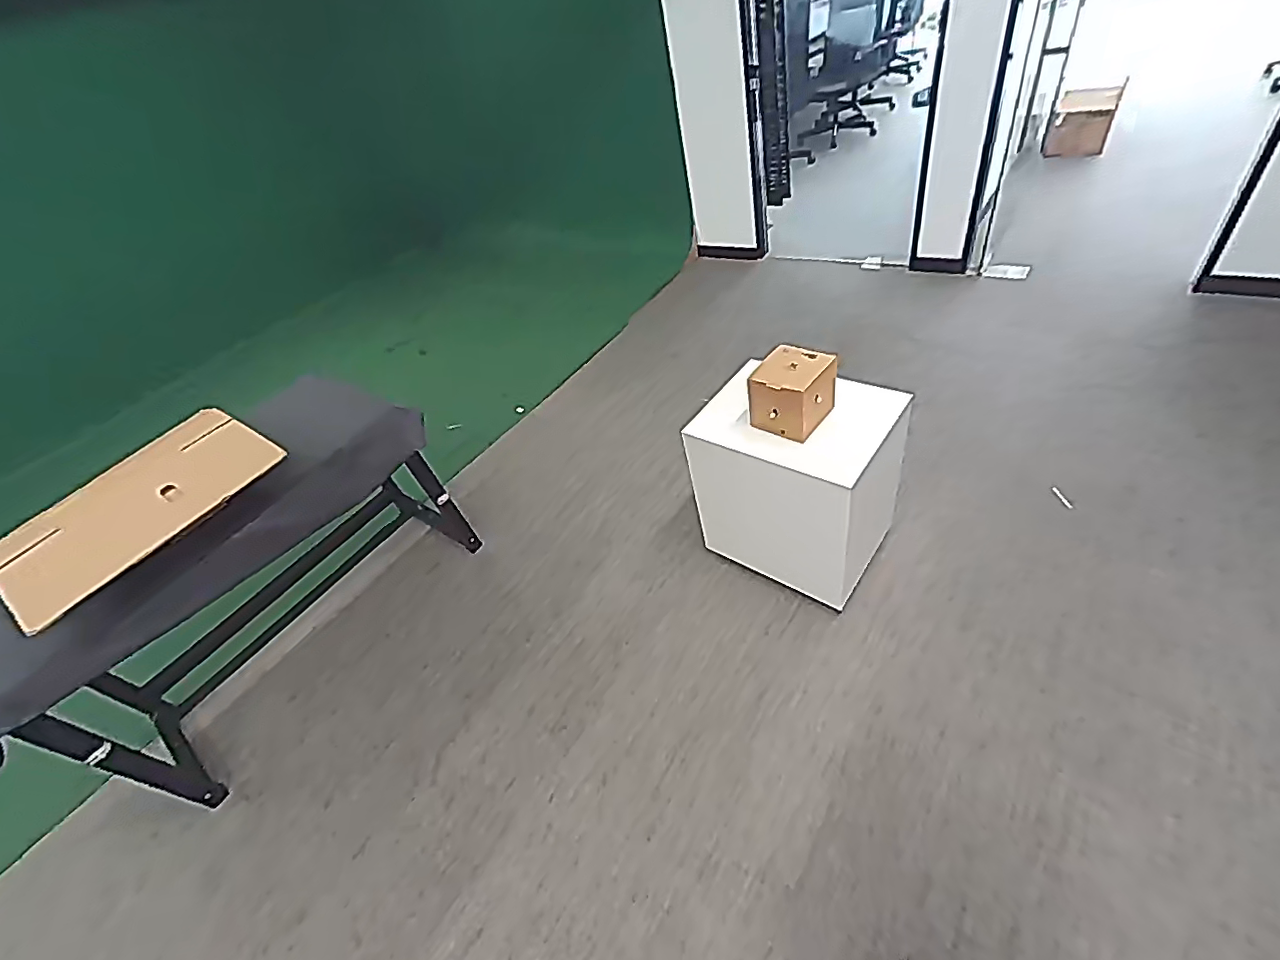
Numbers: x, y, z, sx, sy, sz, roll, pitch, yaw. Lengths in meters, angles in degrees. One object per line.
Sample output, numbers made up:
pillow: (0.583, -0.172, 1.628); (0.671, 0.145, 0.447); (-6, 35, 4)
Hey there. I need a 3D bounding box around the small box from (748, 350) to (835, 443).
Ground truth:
small box: (0.414, -0.225, 1.465); (0.168, 0.176, 0.179); (22, 55, 35)
